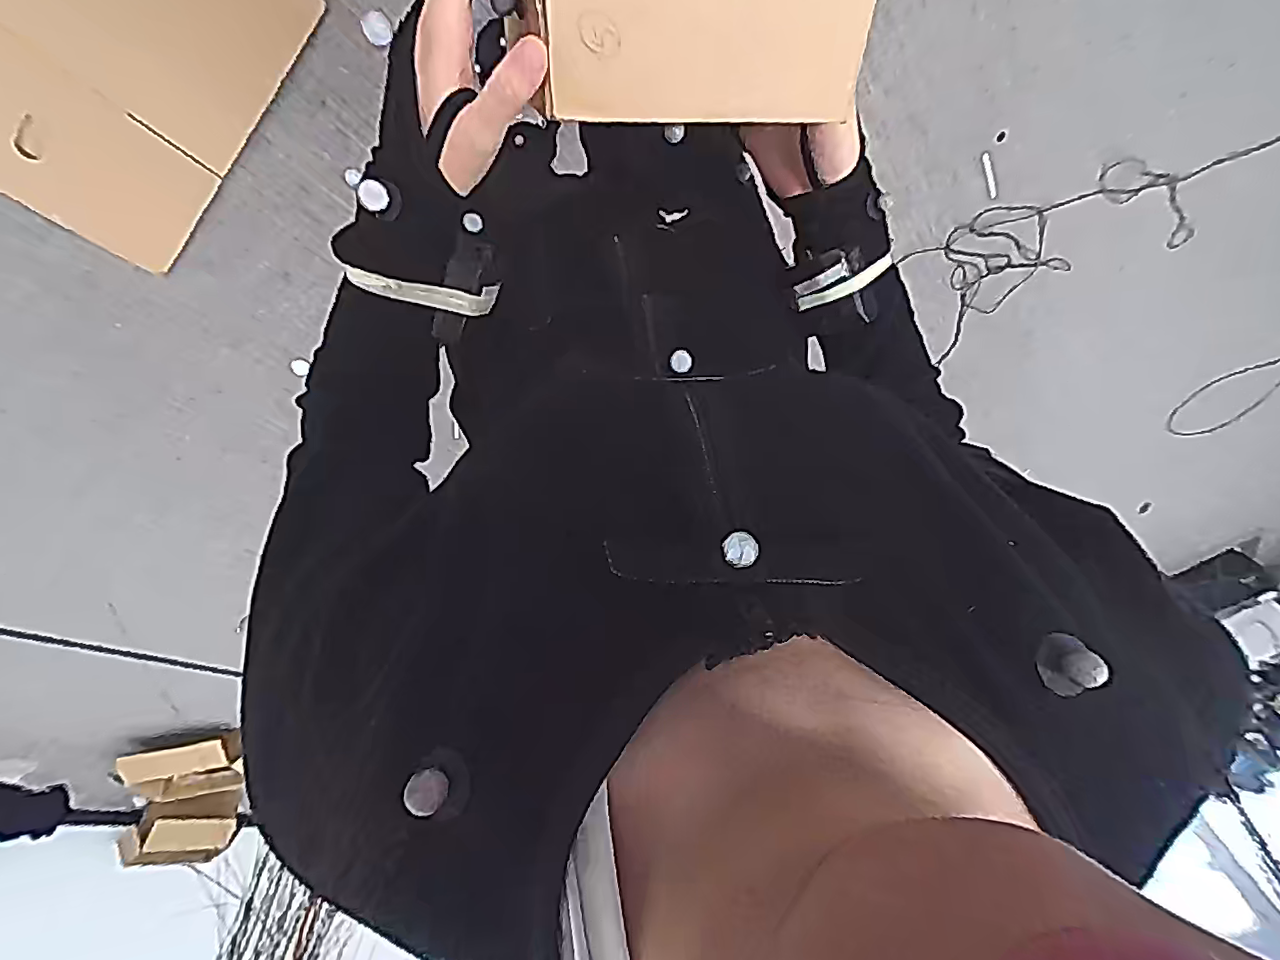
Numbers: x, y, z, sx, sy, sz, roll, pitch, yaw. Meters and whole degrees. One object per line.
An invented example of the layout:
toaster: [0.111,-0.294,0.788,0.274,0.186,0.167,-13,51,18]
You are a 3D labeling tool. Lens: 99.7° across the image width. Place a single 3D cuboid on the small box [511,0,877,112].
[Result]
small box: [0.018,-0.310,0.299,0.179,0.176,0.168,-10,131,-14]
